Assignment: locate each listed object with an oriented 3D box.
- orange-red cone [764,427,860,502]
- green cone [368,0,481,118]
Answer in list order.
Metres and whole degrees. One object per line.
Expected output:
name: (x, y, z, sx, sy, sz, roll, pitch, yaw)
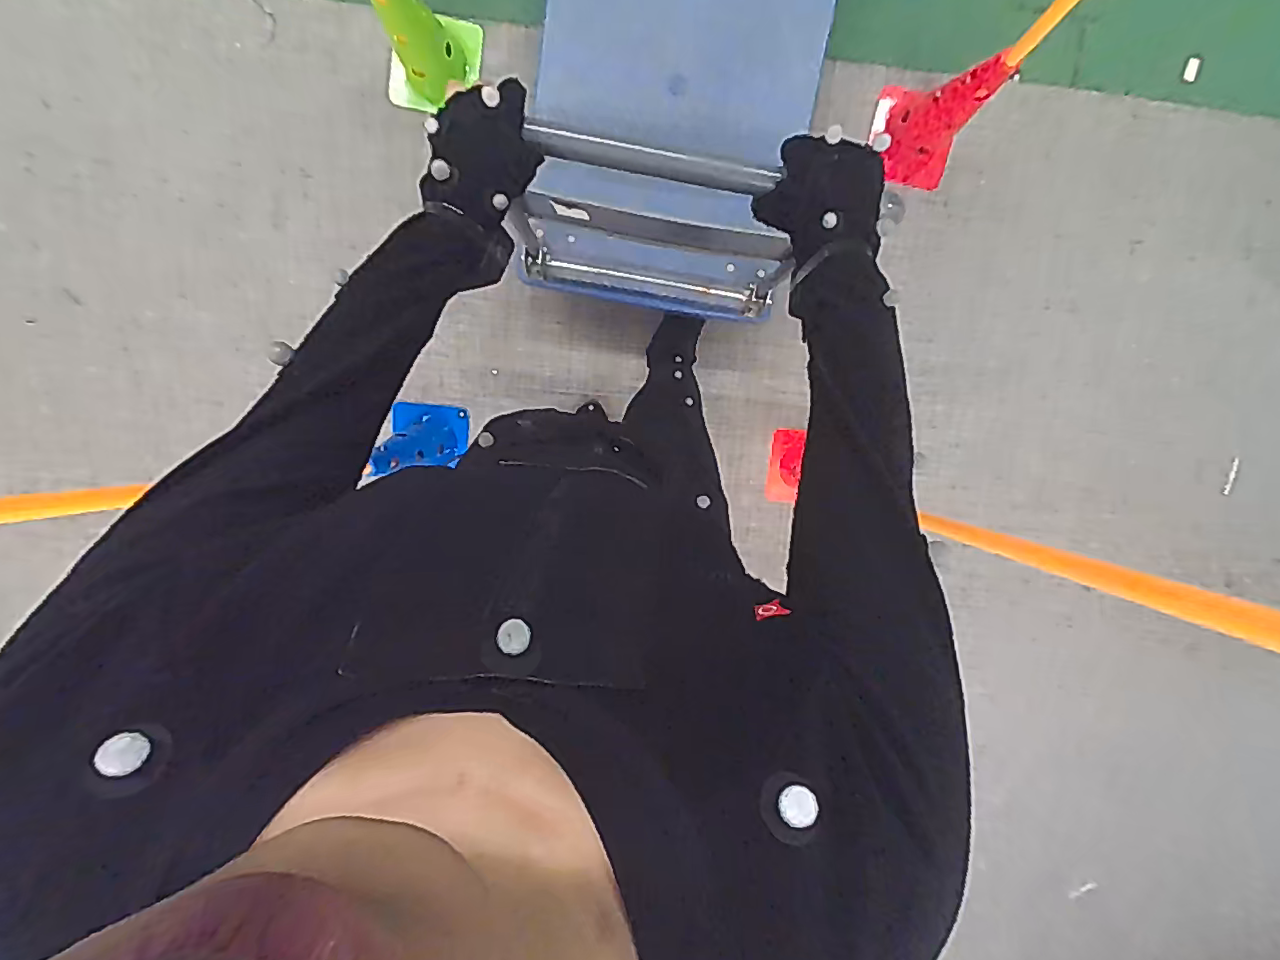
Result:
orange-red cone: (0.444, -0.007, 1.308, 0.199, 0.360, 0.198, 5, 102, -1)
green cone: (-0.473, -0.929, 1.083, 0.202, 0.368, 0.200, 10, 101, -3)
